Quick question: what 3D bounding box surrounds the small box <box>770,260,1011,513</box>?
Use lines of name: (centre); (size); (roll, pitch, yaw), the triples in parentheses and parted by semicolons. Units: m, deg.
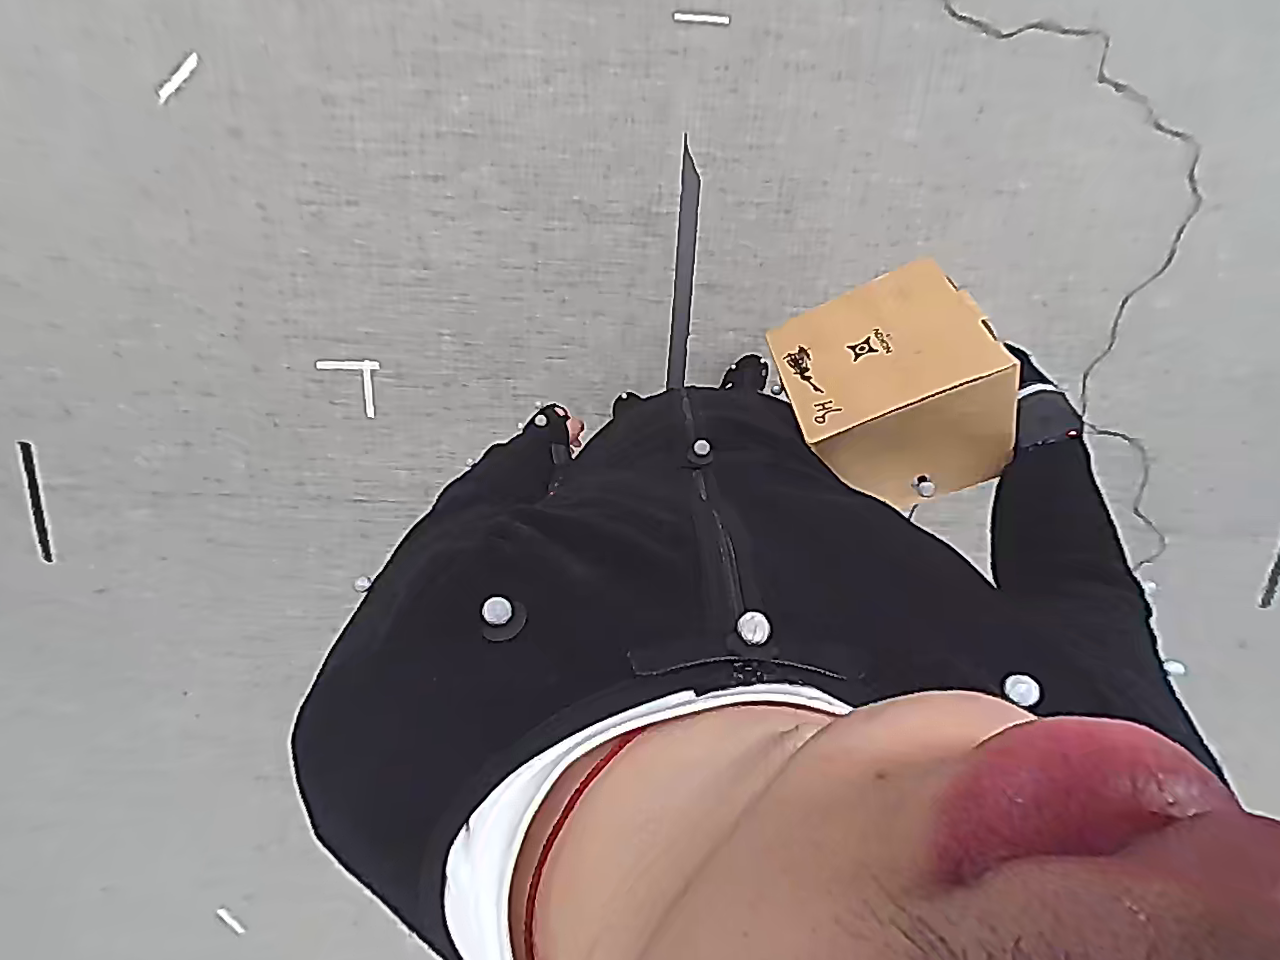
small box: (0.263, -0.091, 0.584); (0.179, 0.168, 0.176); (-22, 139, 18)
